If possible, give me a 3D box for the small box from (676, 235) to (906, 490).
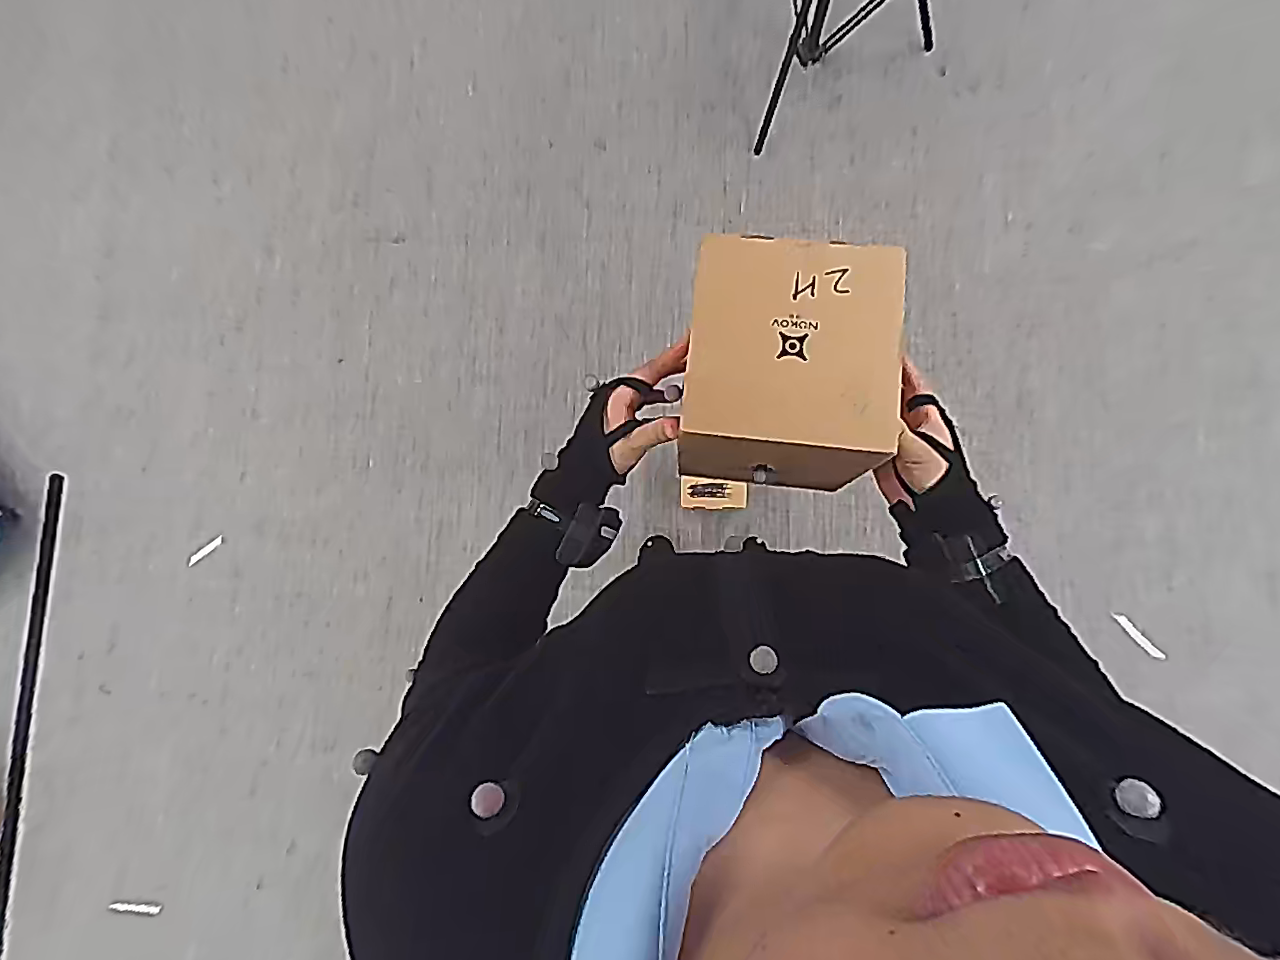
[{"bbox_3d":[0.126,-0.094,0.502,0.168,0.176,0.179,7,78,5],"label":"small box"}]
